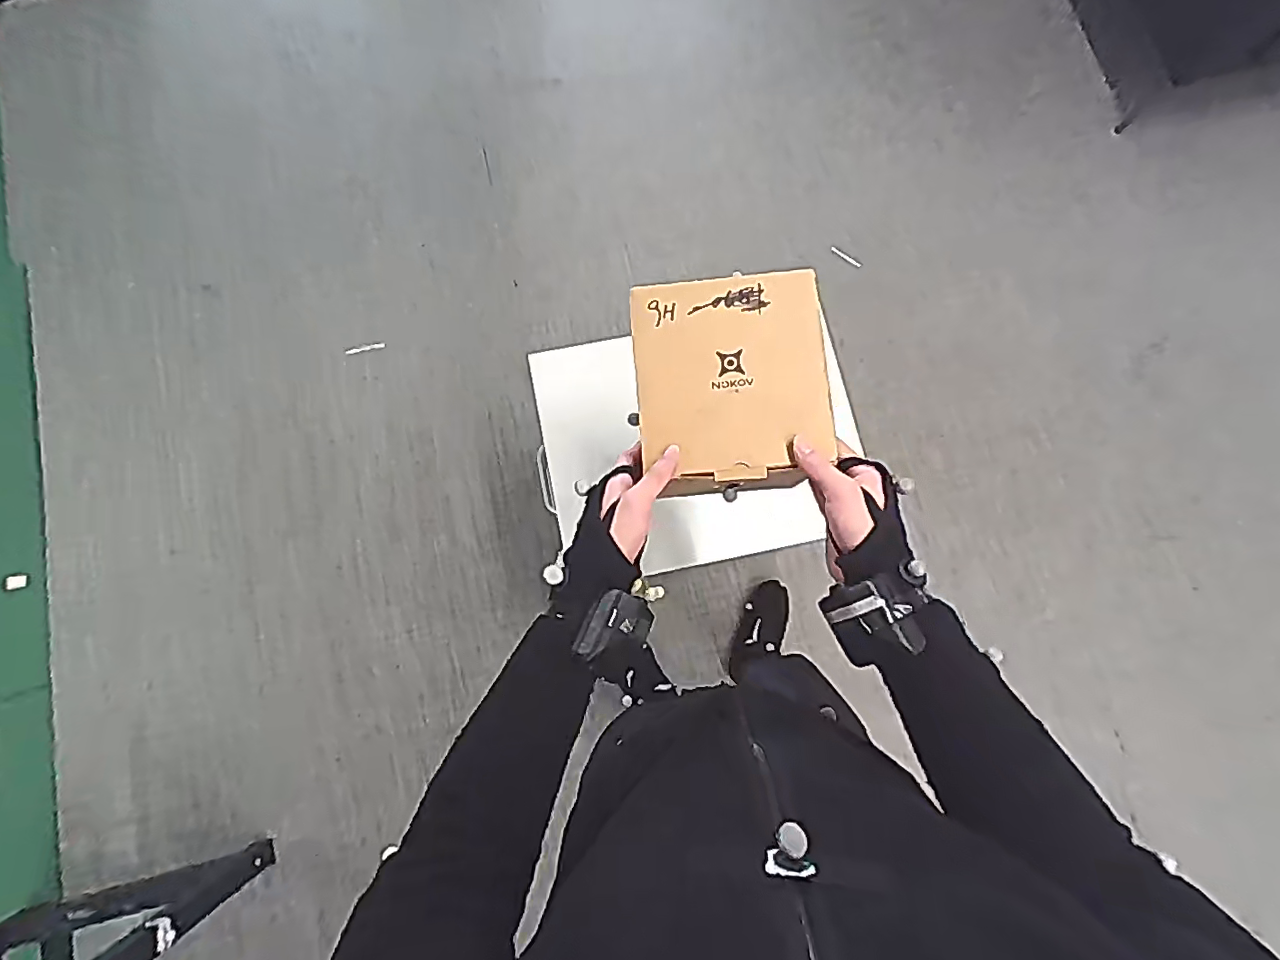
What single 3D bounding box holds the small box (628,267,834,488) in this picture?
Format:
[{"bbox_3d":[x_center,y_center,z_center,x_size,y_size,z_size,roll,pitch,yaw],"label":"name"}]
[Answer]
[{"bbox_3d":[0.085,-0.088,0.559,0.168,0.176,0.179,-8,82,3],"label":"small box"}]
